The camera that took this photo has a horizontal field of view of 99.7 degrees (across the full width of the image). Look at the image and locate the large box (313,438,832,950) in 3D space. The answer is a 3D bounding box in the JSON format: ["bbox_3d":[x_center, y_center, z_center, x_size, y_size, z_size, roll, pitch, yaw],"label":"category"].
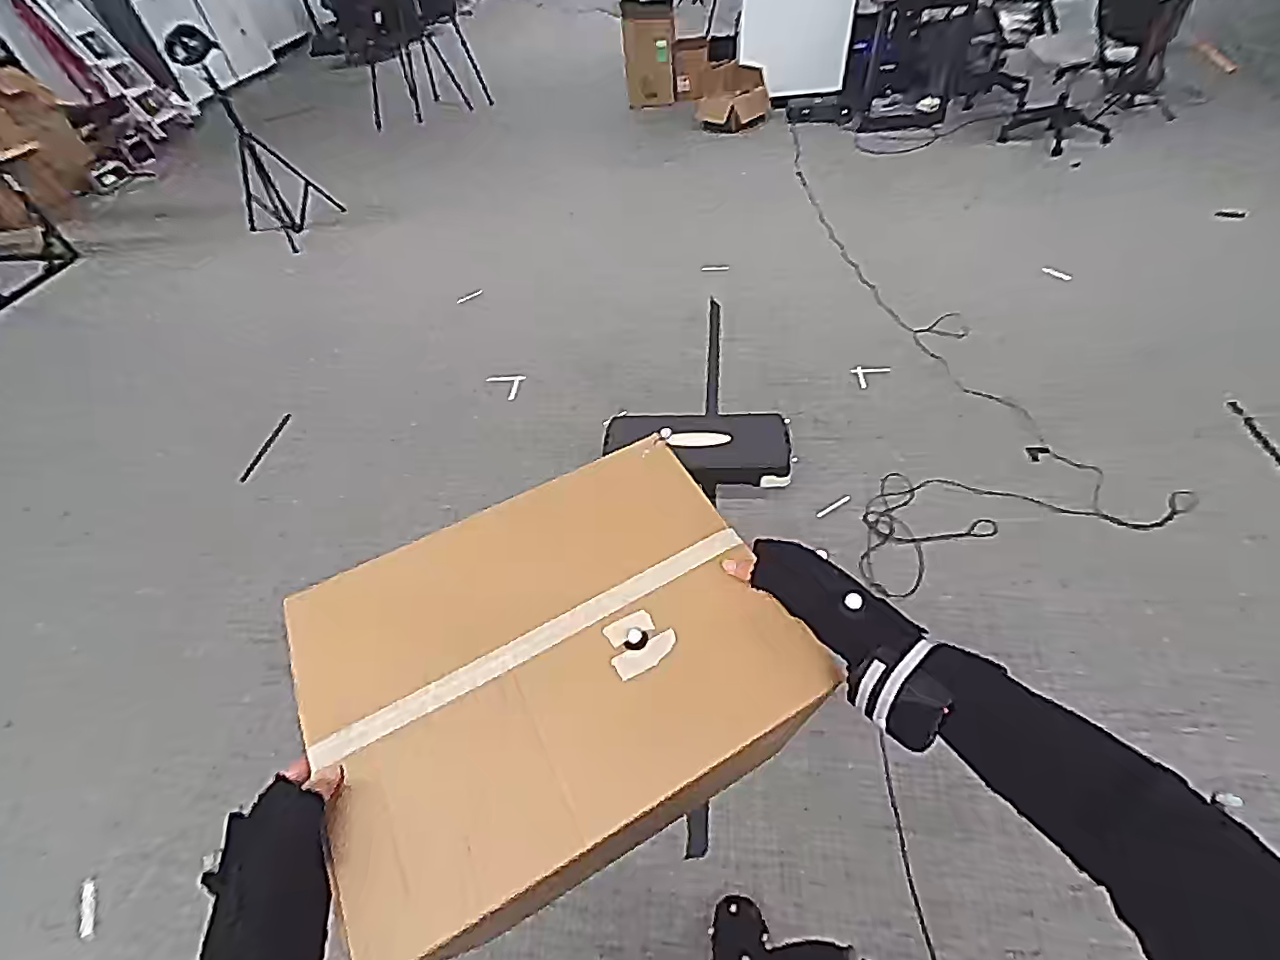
[{"bbox_3d":[-0.070,0.225,0.614,0.408,0.320,0.320,-24,57,-15],"label":"large box"}]
